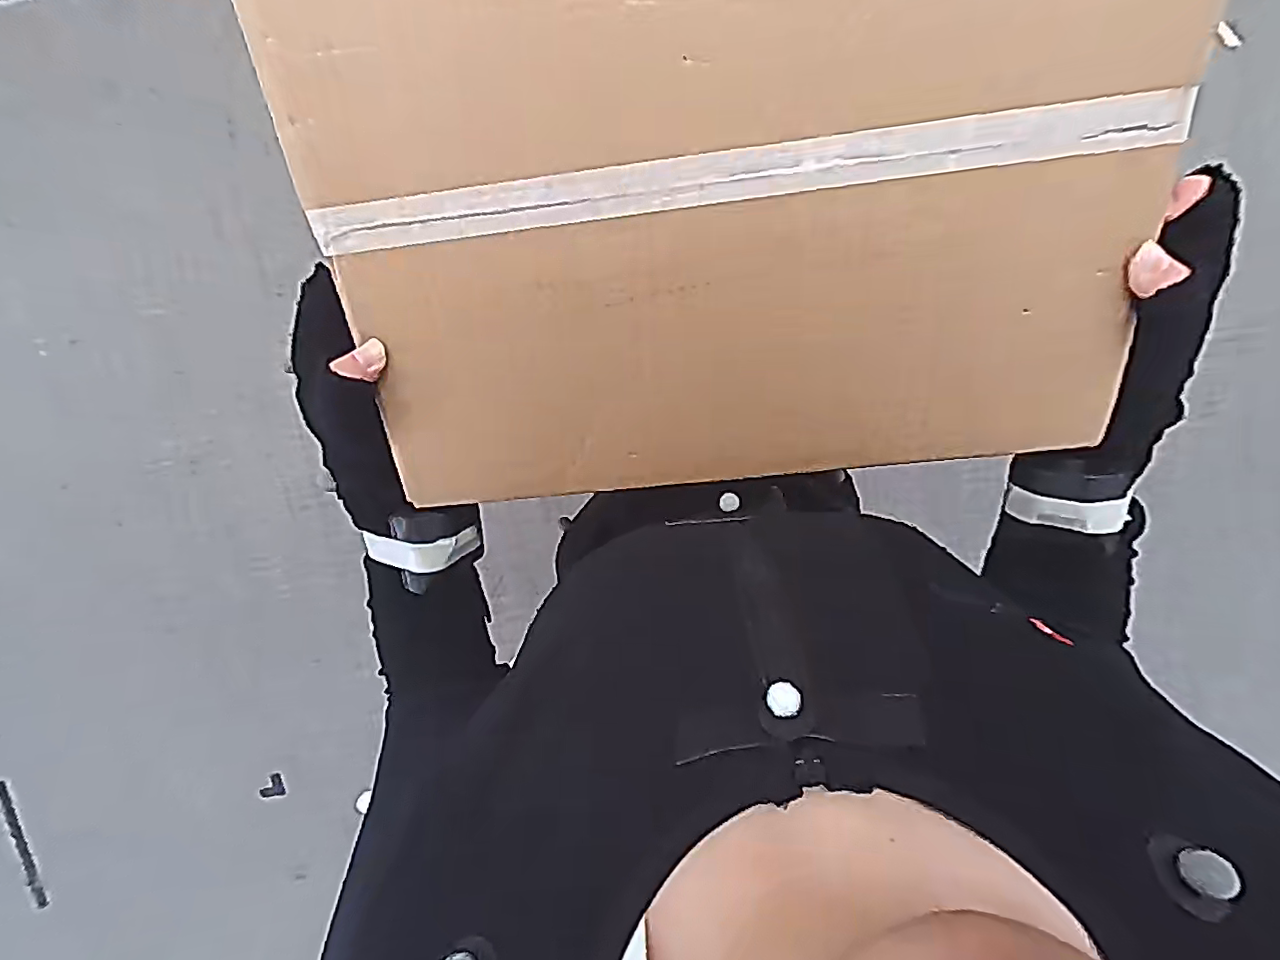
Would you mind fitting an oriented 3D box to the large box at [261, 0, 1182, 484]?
[{"bbox_3d":[0.040,-0.218,0.397,0.408,0.320,0.320,-6,116,4],"label":"large box"}]
